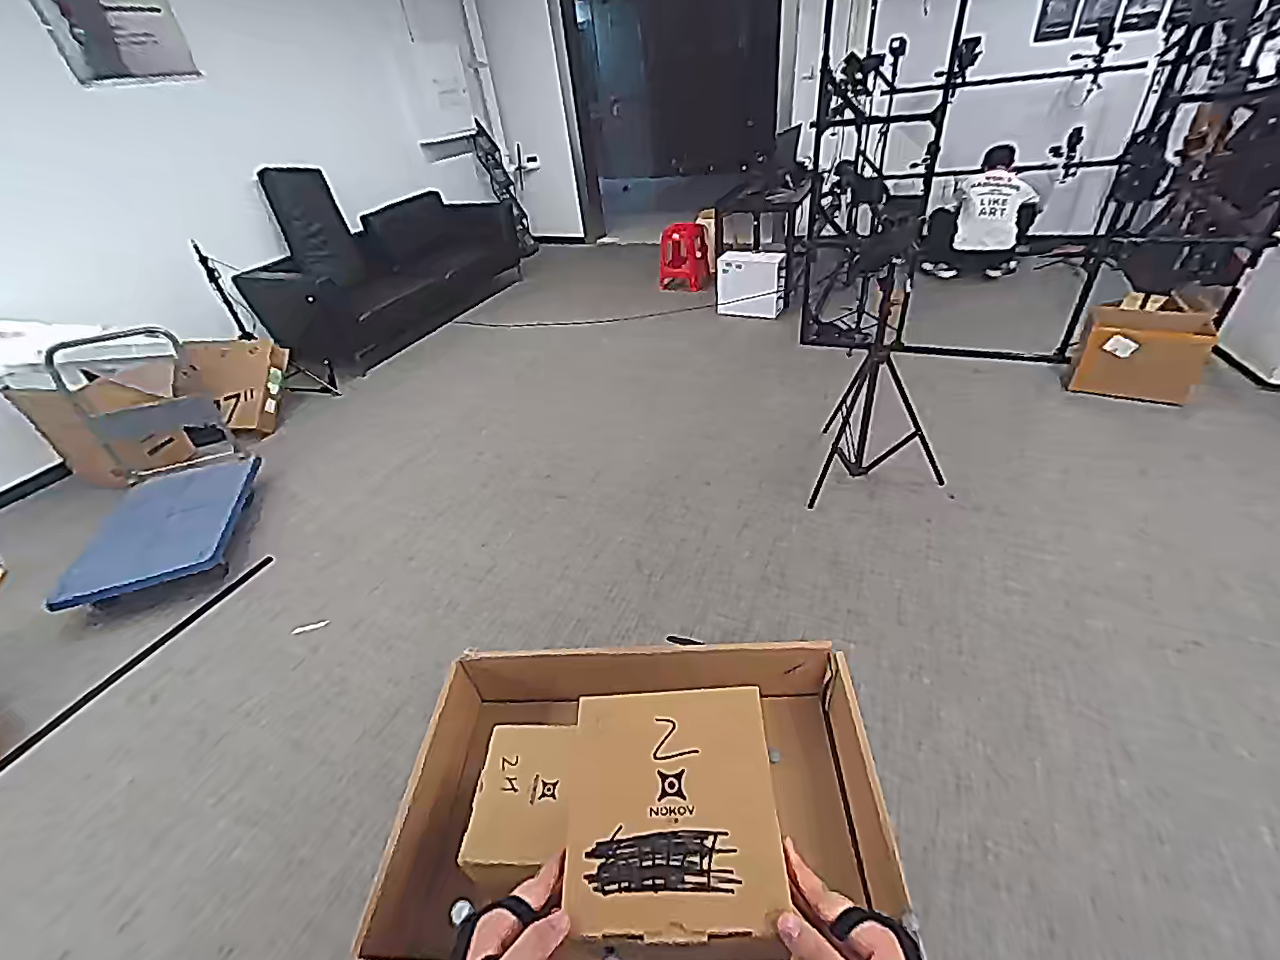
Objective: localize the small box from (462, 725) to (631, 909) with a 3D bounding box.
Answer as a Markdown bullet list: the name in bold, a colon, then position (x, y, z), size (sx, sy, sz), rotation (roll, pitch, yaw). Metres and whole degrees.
- **small box**: position (-0.109, 0.455, 0.732), size (0.179, 0.176, 0.168), rotation (-3, 38, 7)
